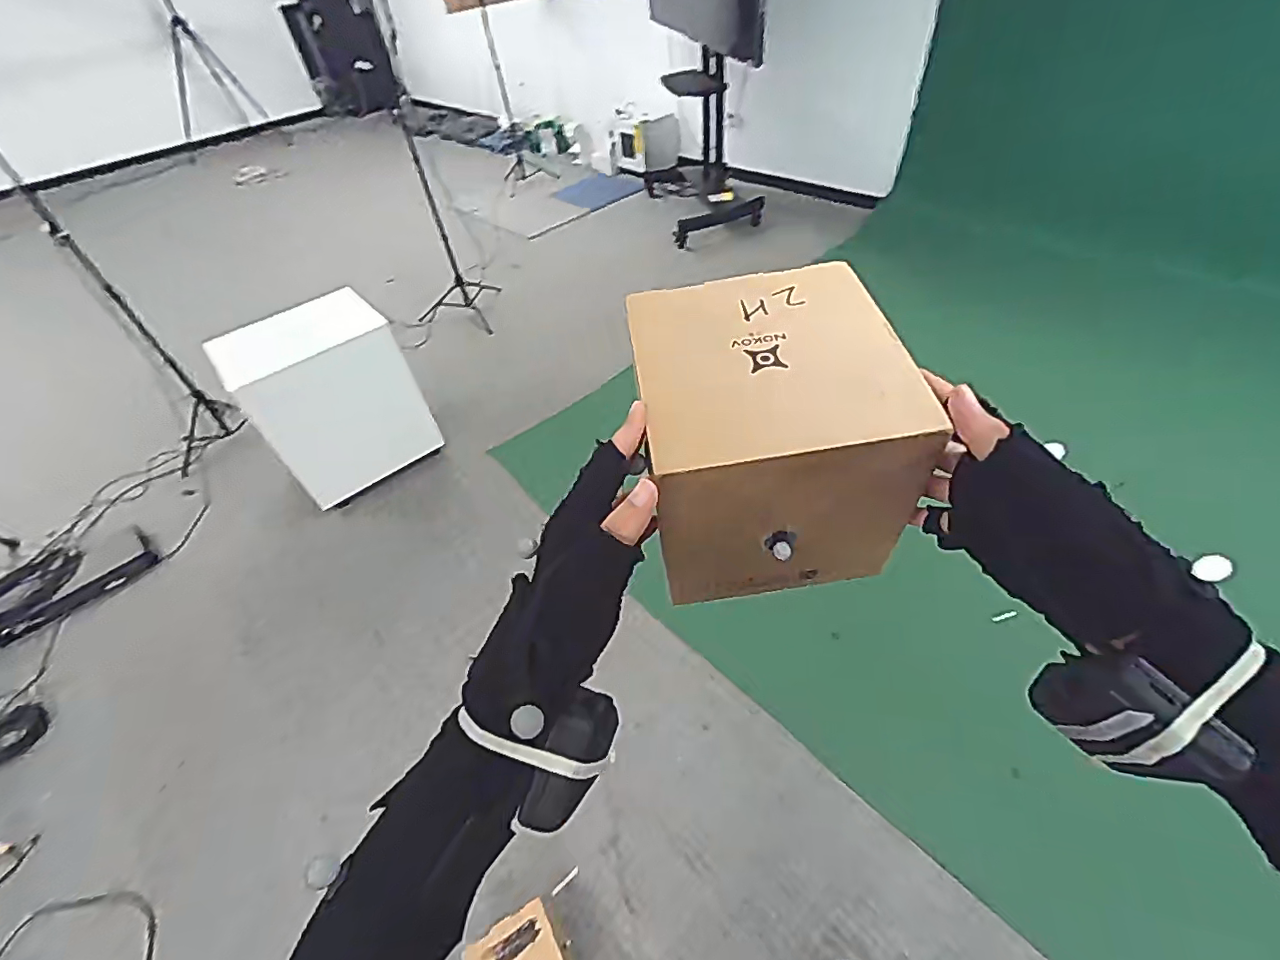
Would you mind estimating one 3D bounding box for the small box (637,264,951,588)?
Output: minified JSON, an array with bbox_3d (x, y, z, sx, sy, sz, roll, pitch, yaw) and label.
[{"bbox_3d":[0.093,-0.031,0.409,0.168,0.176,0.179,-7,51,2],"label":"small box"}]
